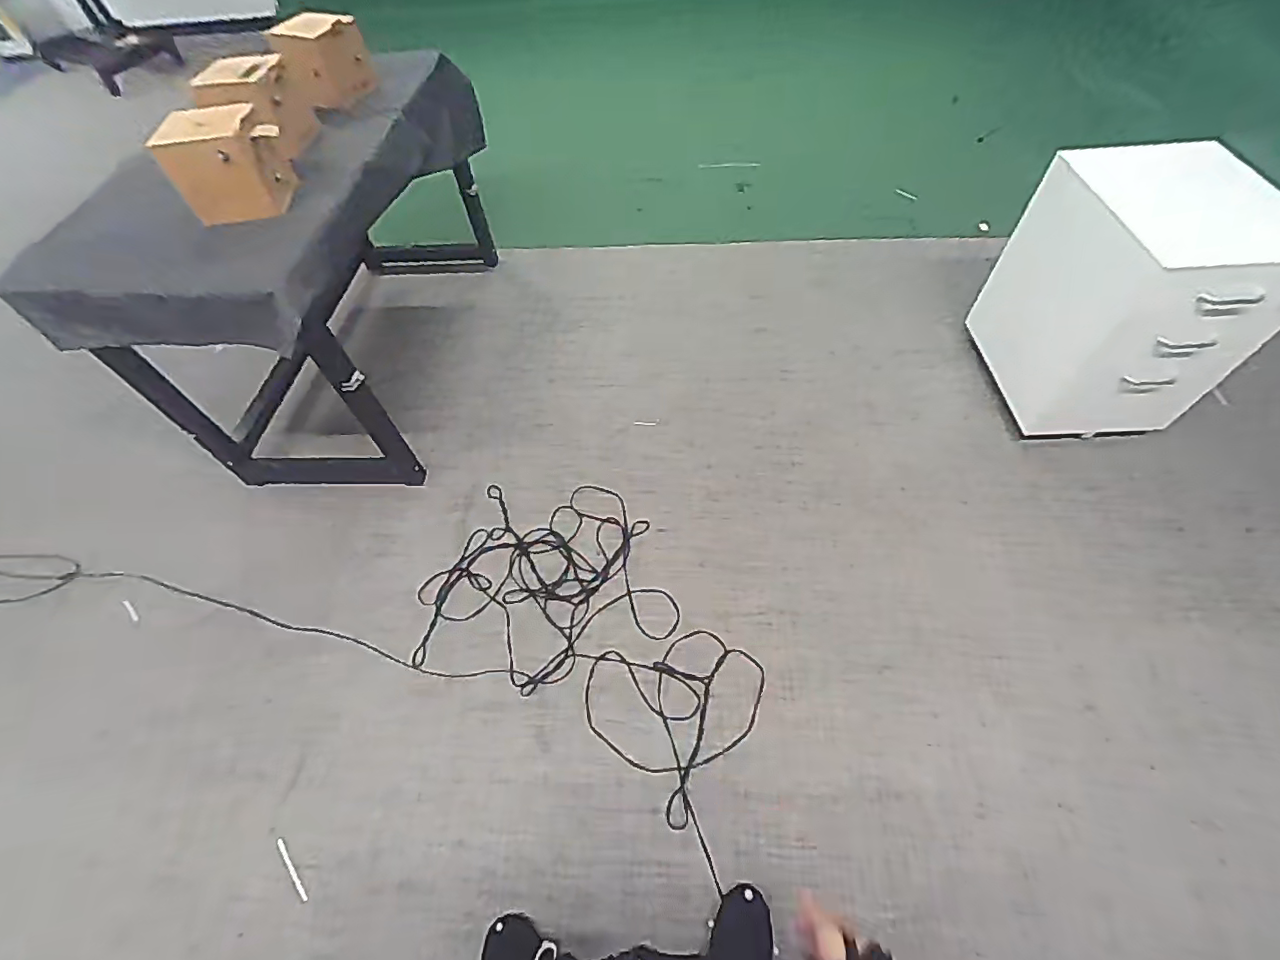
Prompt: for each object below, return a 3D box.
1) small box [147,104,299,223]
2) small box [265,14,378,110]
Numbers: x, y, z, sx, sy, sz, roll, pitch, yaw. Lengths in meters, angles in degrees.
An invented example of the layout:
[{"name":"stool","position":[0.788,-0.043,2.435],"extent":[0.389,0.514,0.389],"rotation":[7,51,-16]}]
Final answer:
[{"name":"small box","position":[-0.891,-0.681,1.176],"extent":[0.179,0.176,0.168],"rotation":[-9,55,-2]},{"name":"small box","position":[-0.874,-1.159,1.504],"extent":[0.179,0.176,0.168],"rotation":[16,57,16]}]
